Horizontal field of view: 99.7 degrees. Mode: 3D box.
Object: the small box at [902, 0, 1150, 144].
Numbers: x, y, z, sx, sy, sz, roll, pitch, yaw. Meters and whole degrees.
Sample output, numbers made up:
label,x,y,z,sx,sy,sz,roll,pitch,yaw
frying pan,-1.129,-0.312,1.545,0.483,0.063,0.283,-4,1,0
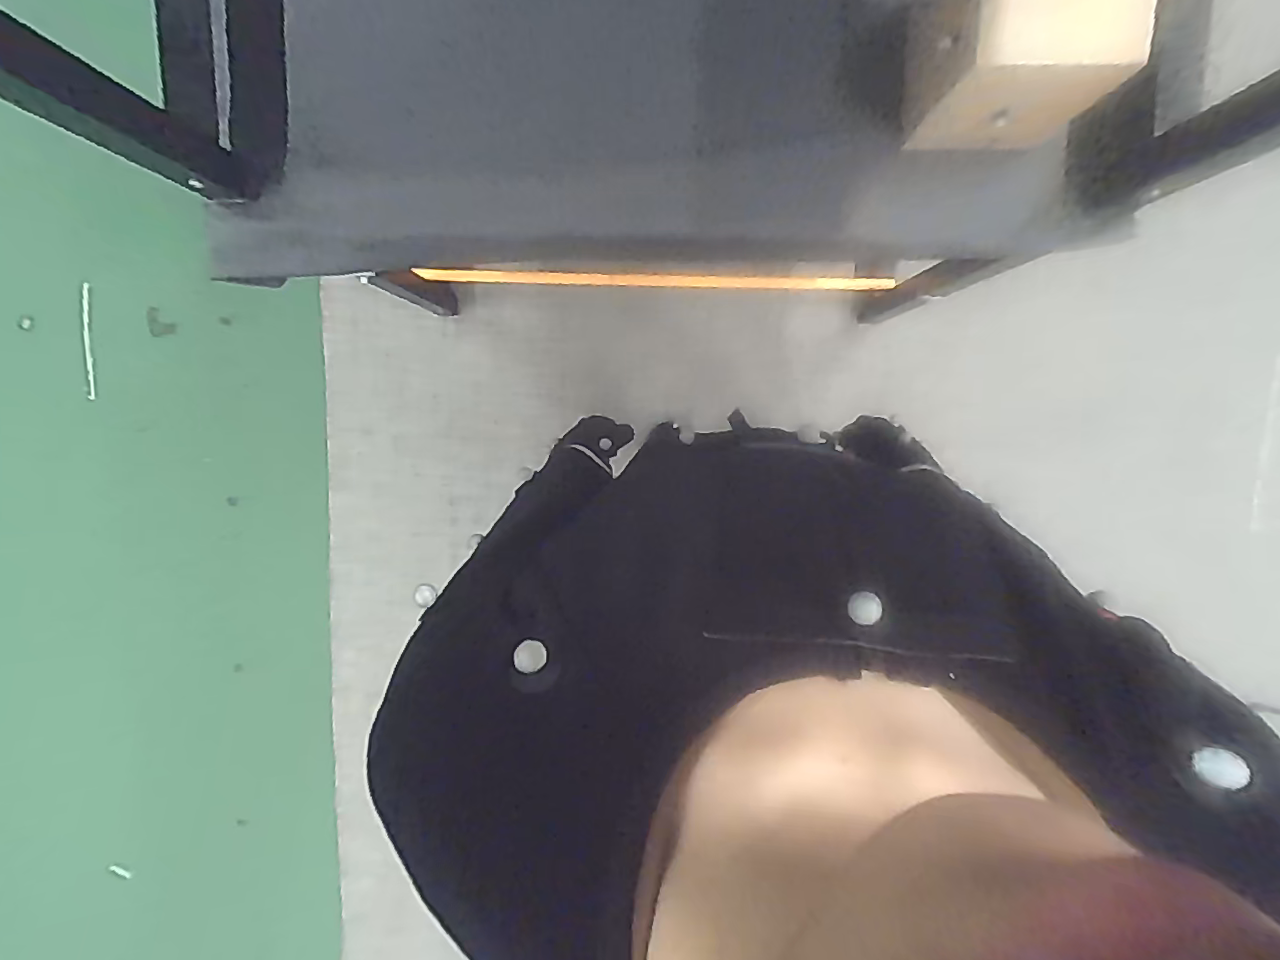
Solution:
label,x,y,z,sx,sy,sz,roll,pitch,yaw
small box,0.410,-0.499,0.596,0.168,0.176,0.179,1,96,1
